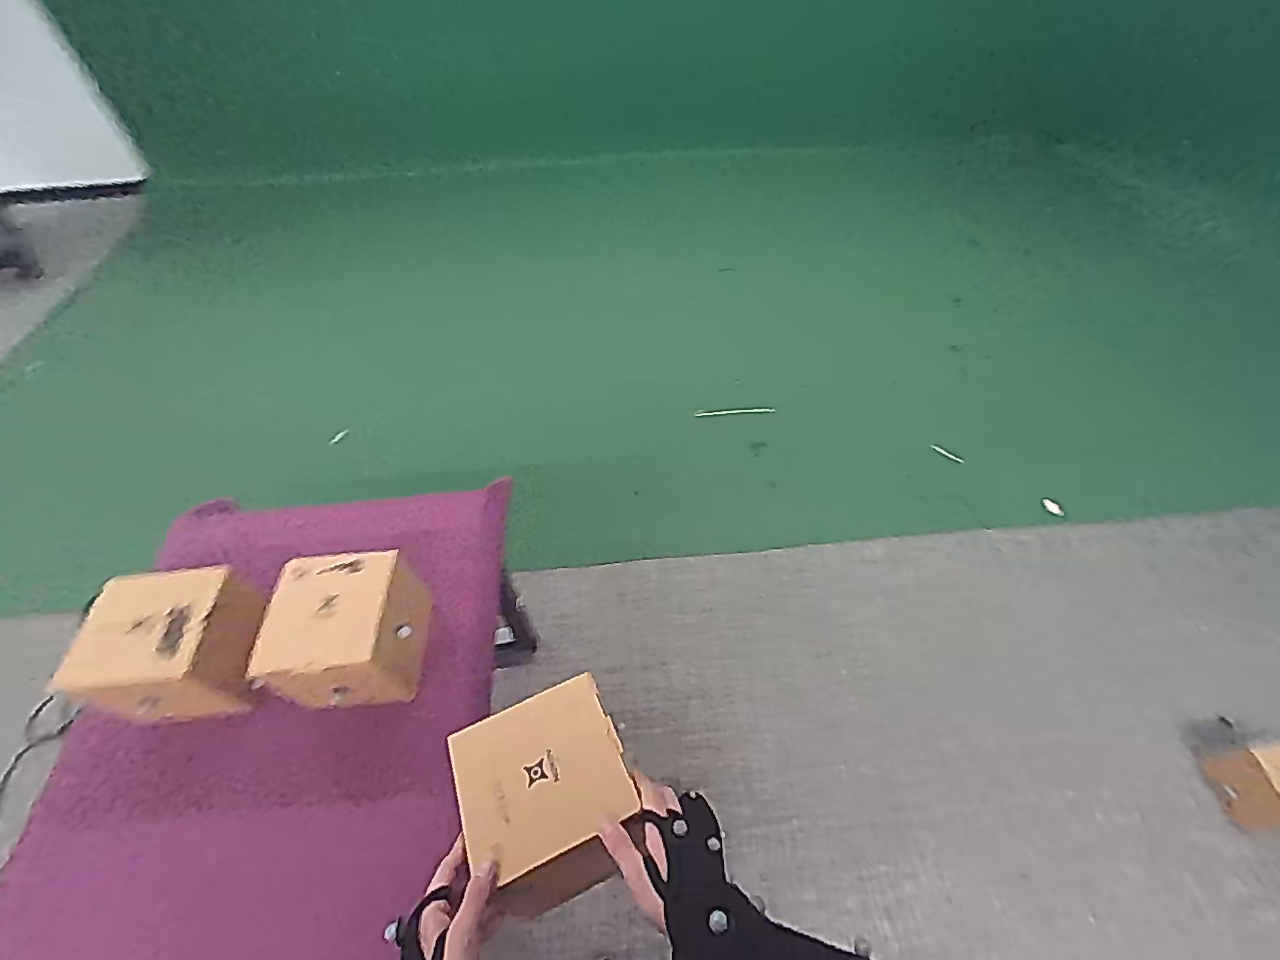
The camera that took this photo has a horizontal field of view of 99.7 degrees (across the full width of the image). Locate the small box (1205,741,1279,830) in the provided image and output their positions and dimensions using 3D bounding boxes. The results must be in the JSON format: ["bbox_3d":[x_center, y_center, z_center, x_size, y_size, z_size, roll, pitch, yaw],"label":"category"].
[{"bbox_3d":[1.529,0.721,1.278,0.179,0.176,0.168,-4,52,-1],"label":"small box"}]

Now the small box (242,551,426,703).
[{"bbox_3d":[-0.443,0.229,0.821,0.168,0.176,0.179,-5,53,0],"label":"small box"}]

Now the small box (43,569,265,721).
[{"bbox_3d":[-0.694,0.252,0.815,0.179,0.176,0.168,-6,52,-2],"label":"small box"}]

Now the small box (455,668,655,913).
[{"bbox_3d":[-0.089,0.354,0.620,0.179,0.176,0.168,-21,44,-10],"label":"small box"}]
